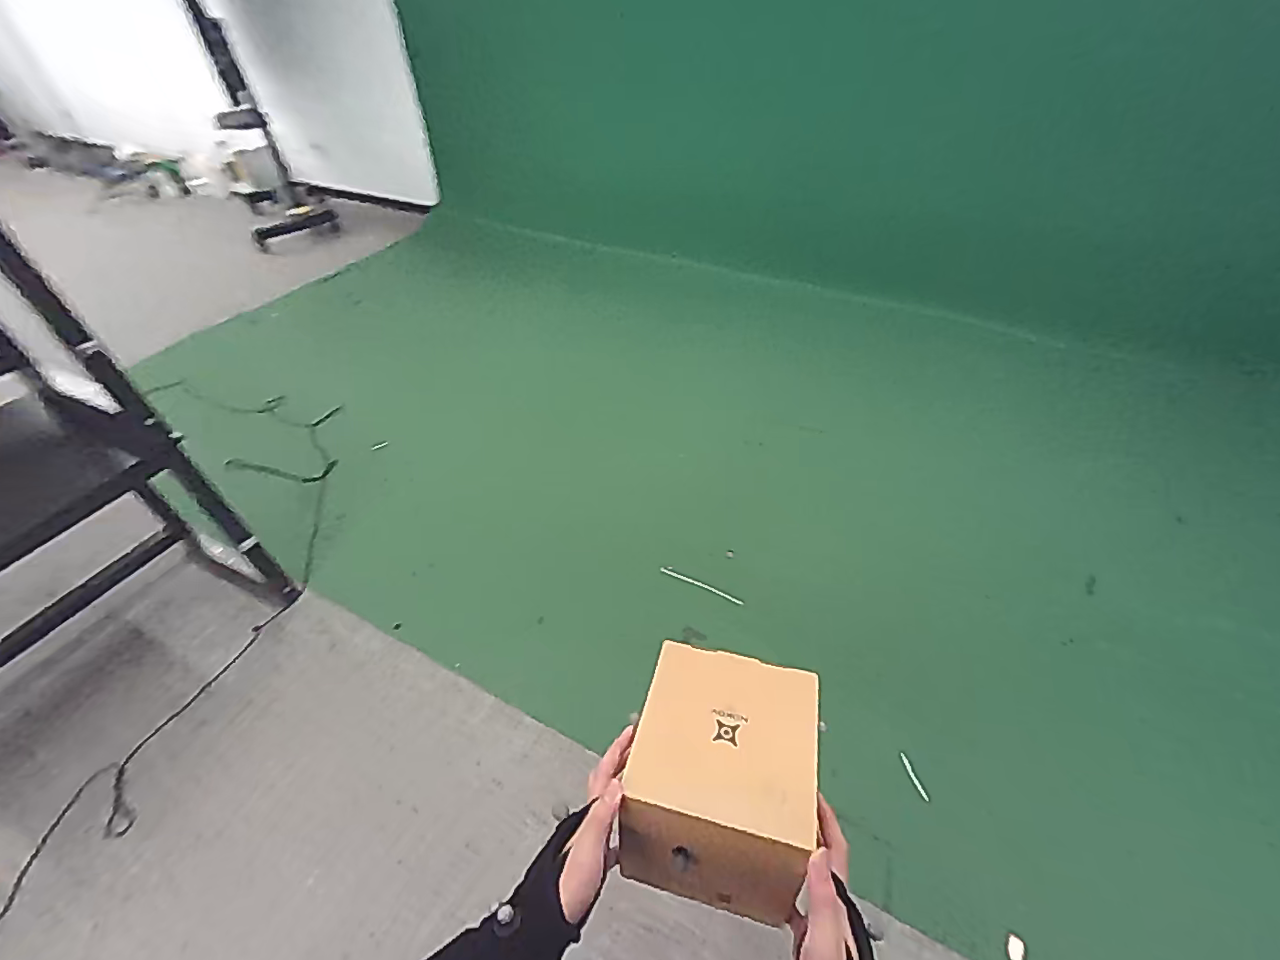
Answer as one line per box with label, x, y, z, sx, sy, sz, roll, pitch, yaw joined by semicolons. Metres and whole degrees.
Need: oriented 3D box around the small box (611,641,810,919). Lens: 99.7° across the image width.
small box;0.077;0.301;0.553;0.168;0.176;0.179;8;34;12
